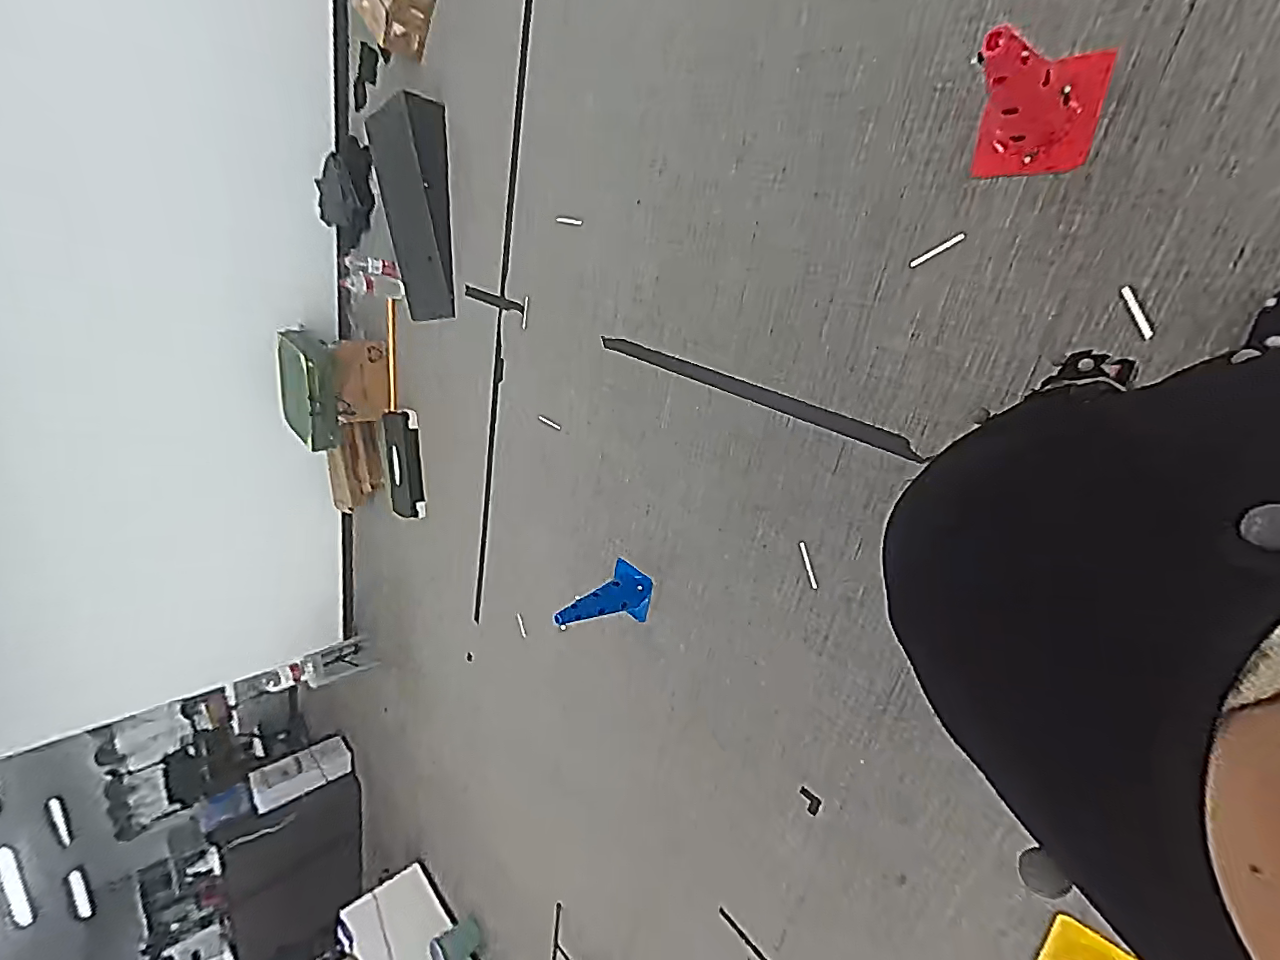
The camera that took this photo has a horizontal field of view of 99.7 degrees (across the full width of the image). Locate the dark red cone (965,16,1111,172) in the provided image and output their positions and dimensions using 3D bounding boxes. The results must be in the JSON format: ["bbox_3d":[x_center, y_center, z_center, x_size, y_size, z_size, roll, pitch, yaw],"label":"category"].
[{"bbox_3d":[0.640,-0.682,0.920,0.202,0.394,0.201,20,113,41],"label":"dark red cone"}]

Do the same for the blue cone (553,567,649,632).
[{"bbox_3d":[-0.157,0.471,1.985,0.193,0.380,0.192,30,119,38],"label":"blue cone"}]
